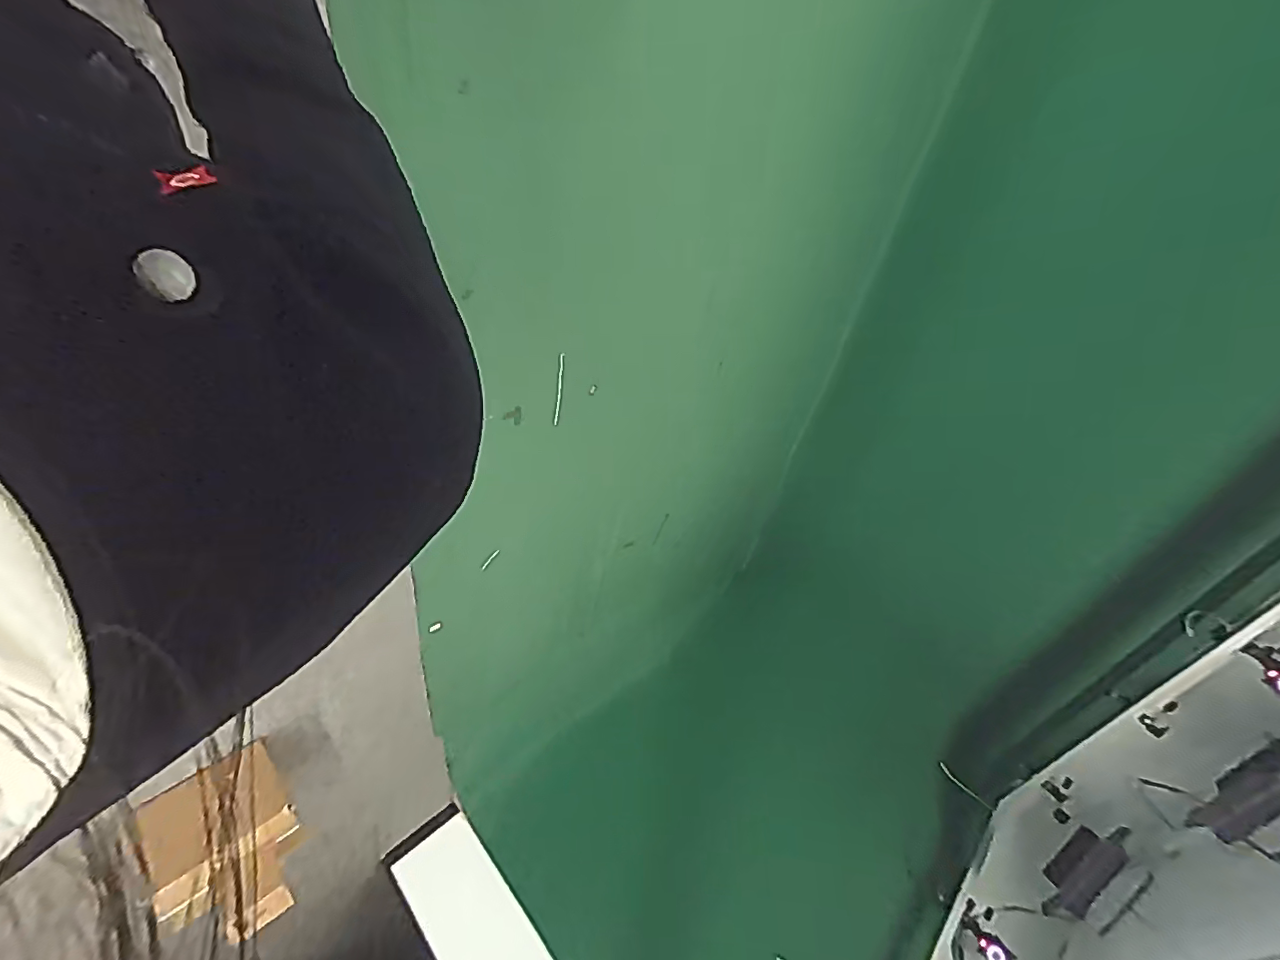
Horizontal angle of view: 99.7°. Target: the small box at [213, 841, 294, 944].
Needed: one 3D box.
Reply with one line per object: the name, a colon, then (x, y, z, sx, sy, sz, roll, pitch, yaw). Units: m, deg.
small box: (-1.278, 1.354, 1.785, 0.179, 0.176, 0.168, -21, 134, -43)
